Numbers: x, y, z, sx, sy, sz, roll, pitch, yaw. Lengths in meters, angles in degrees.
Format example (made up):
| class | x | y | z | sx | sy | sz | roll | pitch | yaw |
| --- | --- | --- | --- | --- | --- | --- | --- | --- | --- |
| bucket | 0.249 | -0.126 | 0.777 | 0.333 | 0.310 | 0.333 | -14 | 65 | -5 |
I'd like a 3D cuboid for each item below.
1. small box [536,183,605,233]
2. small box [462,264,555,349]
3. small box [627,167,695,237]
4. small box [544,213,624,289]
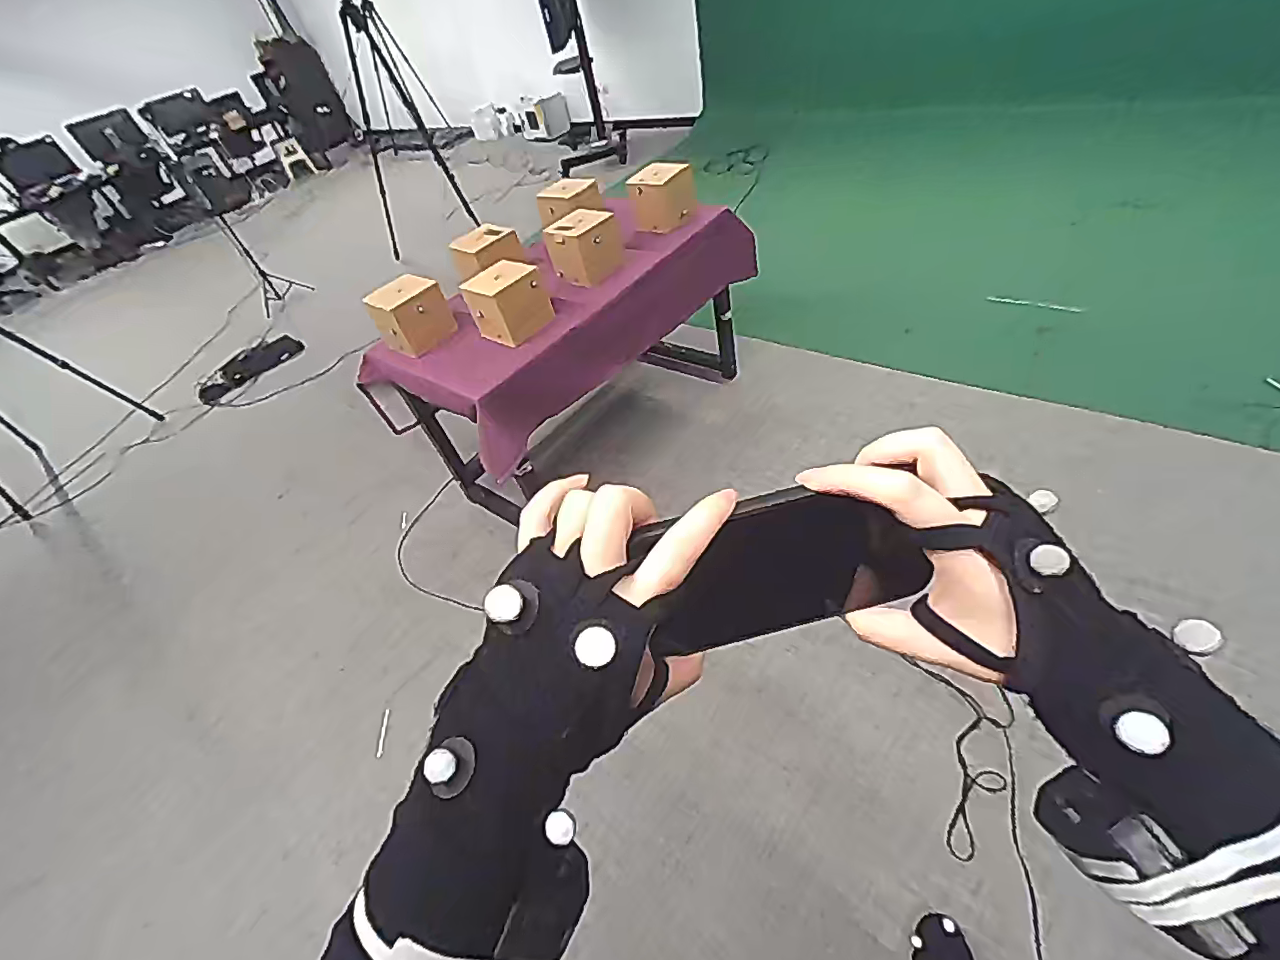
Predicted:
| class | x | y | z | sx | sy | sz | roll | pitch | yaw |
| --- | --- | --- | --- | --- | --- | --- | --- | --- | --- |
| small box | -0.250 | -0.988 | 2.016 | 0.179 | 0.176 | 0.168 | 22 | 56 | 32 |
| small box | -0.380 | -0.509 | 1.589 | 0.168 | 0.176 | 0.179 | 25 | 57 | 34 |
| small box | 0.081 | -0.988 | 1.920 | 0.168 | 0.176 | 0.179 | 23 | 56 | 33 |
| small box | -0.174 | -0.742 | 1.756 | 0.168 | 0.176 | 0.179 | 27 | 58 | 35 |
